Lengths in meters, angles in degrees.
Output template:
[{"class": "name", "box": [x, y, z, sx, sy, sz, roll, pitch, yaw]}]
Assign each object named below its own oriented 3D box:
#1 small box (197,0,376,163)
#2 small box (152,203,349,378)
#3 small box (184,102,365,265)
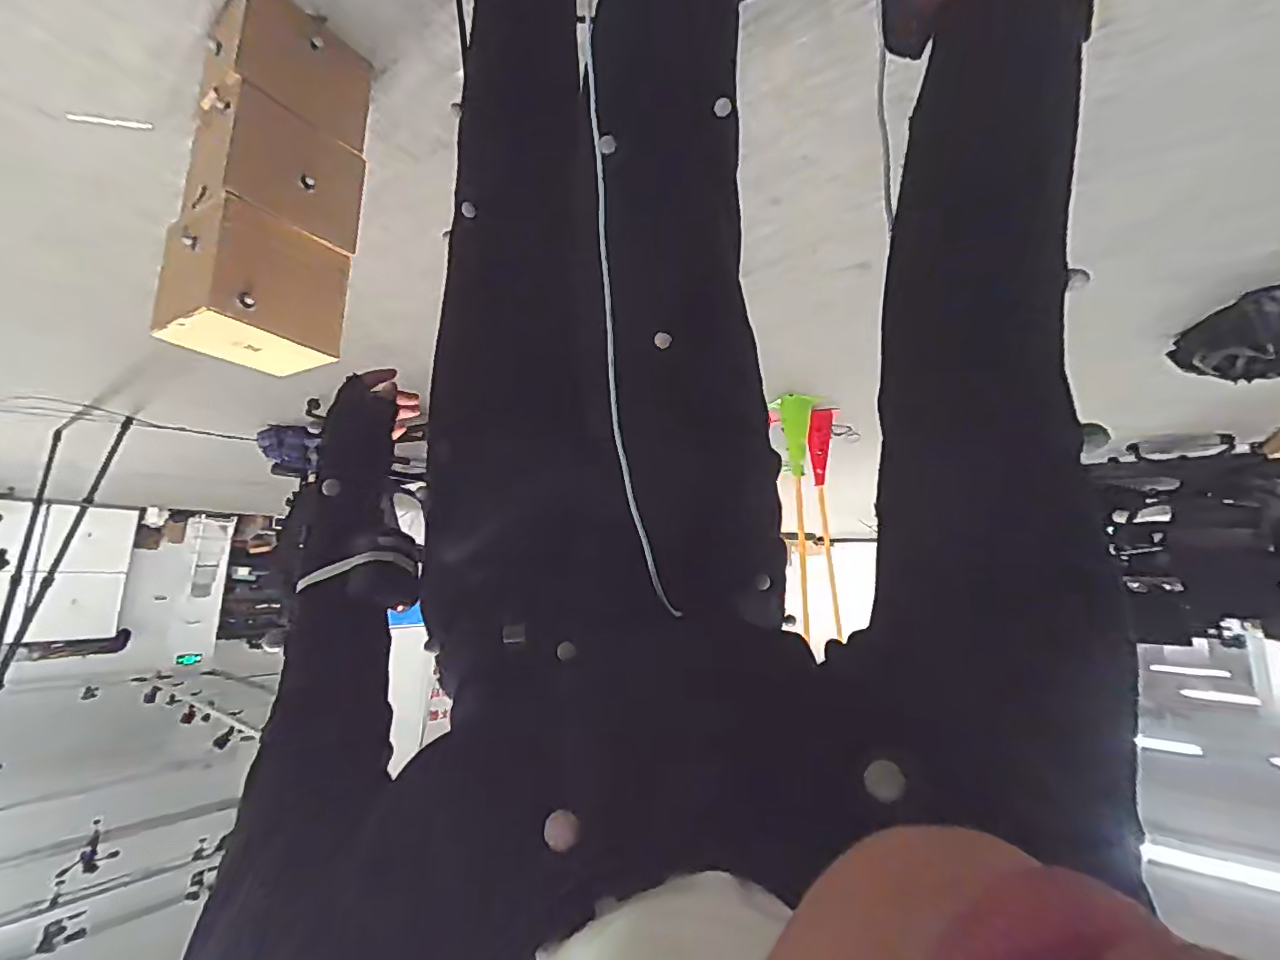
[{"class": "small box", "box": [-0.544, -0.593, 0.844, 0.168, 0.176, 0.179, -2, 168, 37]}, {"class": "small box", "box": [-0.561, -0.268, 0.797, 0.168, 0.176, 0.179, -4, 168, 29]}, {"class": "small box", "box": [-0.550, -0.428, 0.822, 0.168, 0.176, 0.179, -5, 169, 33]}]
